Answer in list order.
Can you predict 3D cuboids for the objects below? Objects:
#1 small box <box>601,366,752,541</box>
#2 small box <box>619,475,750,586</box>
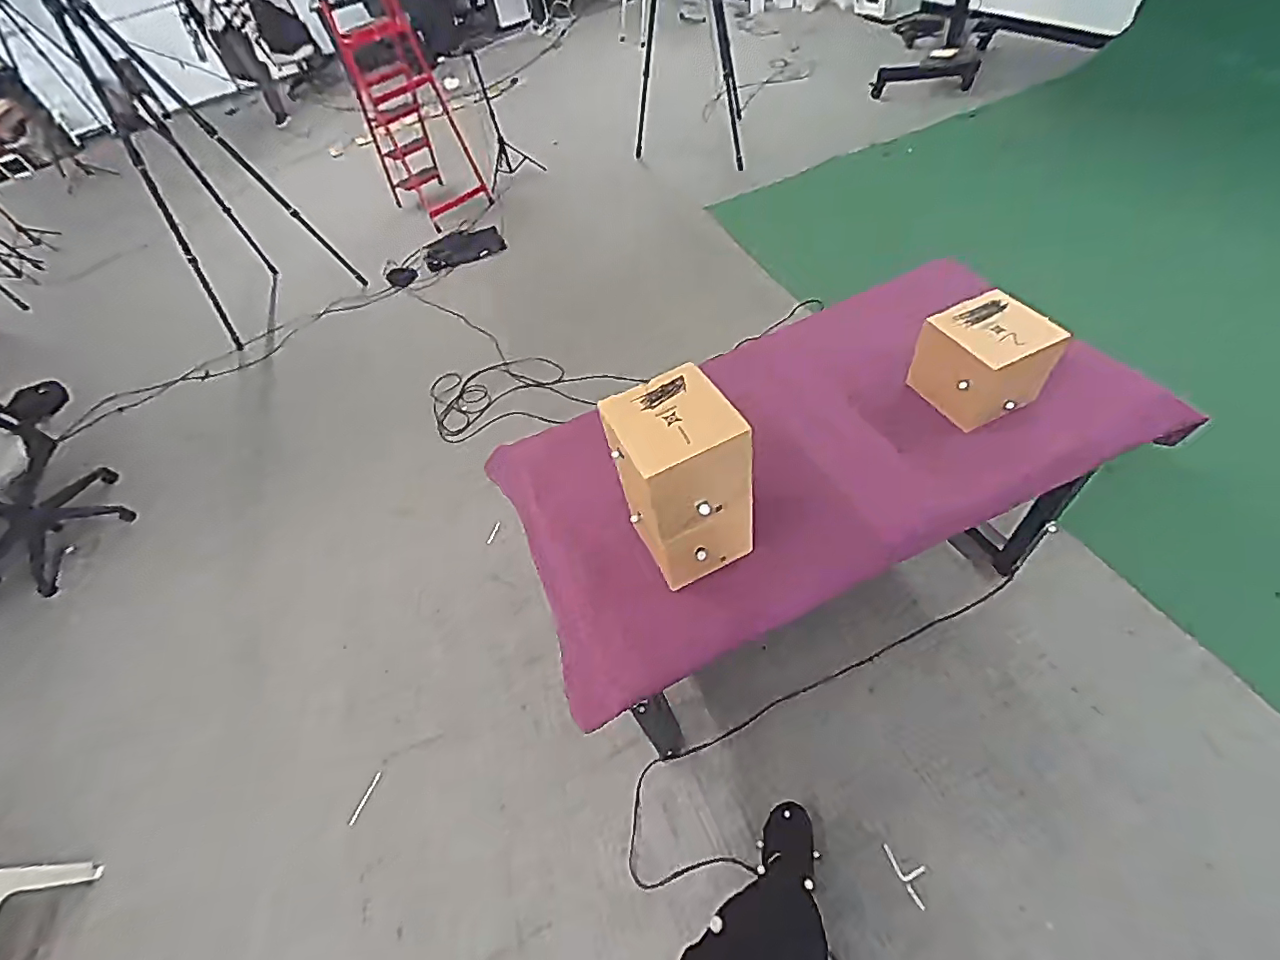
[{"bbox_3d":[0.057,-0.039,0.834,0.168,0.176,0.179,-25,52,-8],"label":"small box"},{"bbox_3d":[0.083,0.065,0.959,0.168,0.176,0.179,-25,51,-9],"label":"small box"}]
